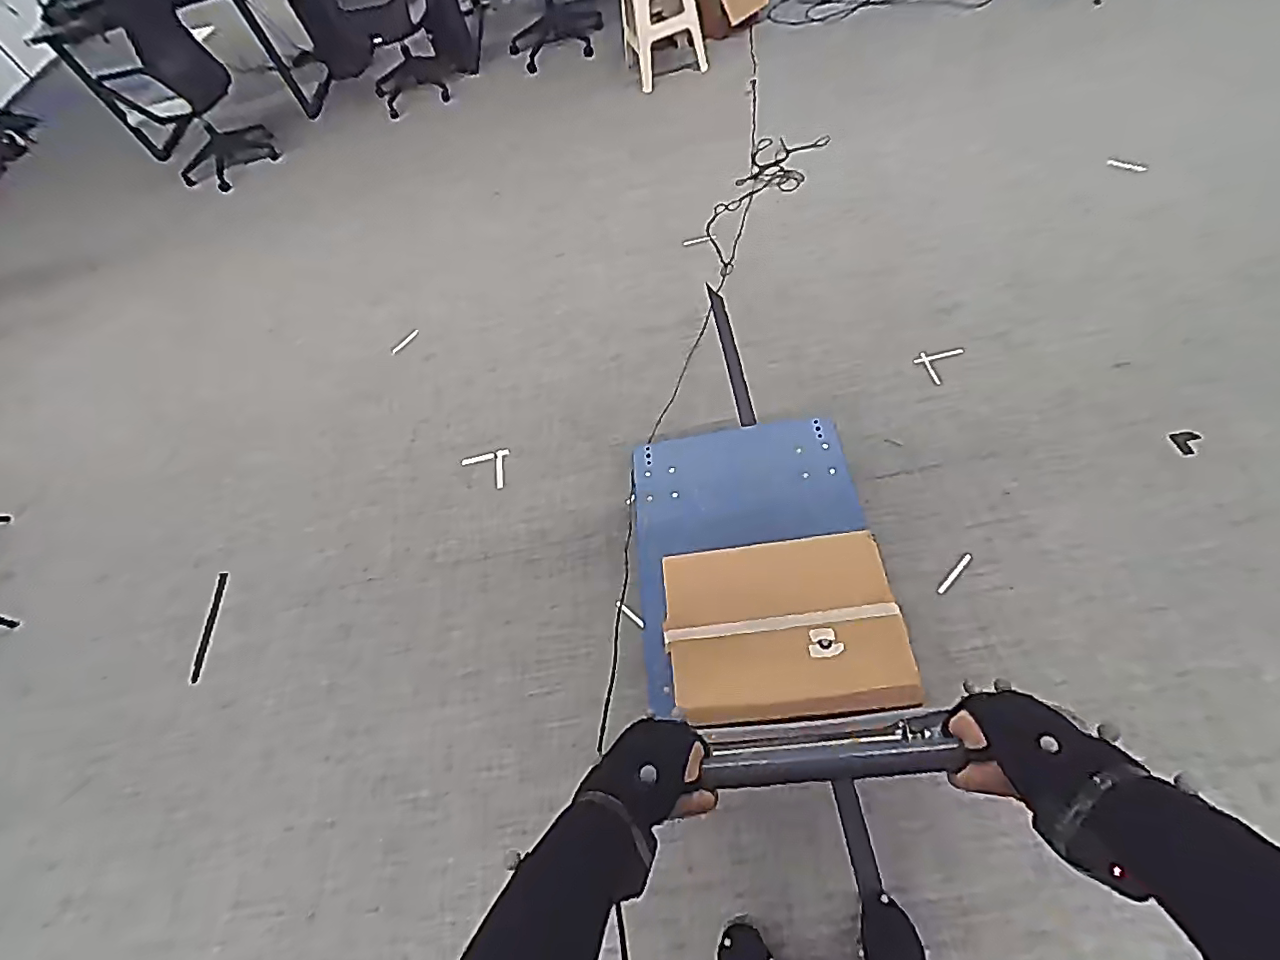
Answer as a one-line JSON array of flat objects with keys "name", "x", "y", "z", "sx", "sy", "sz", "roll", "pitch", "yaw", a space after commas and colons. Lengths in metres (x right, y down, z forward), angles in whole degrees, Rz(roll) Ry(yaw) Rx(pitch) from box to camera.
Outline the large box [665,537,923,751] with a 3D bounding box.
[{"name": "large box", "x": 0.281, "y": 0.348, "z": 1.102, "sx": 0.408, "sy": 0.320, "sz": 0.320, "roll": -9, "pitch": 59, "yaw": 6}]
